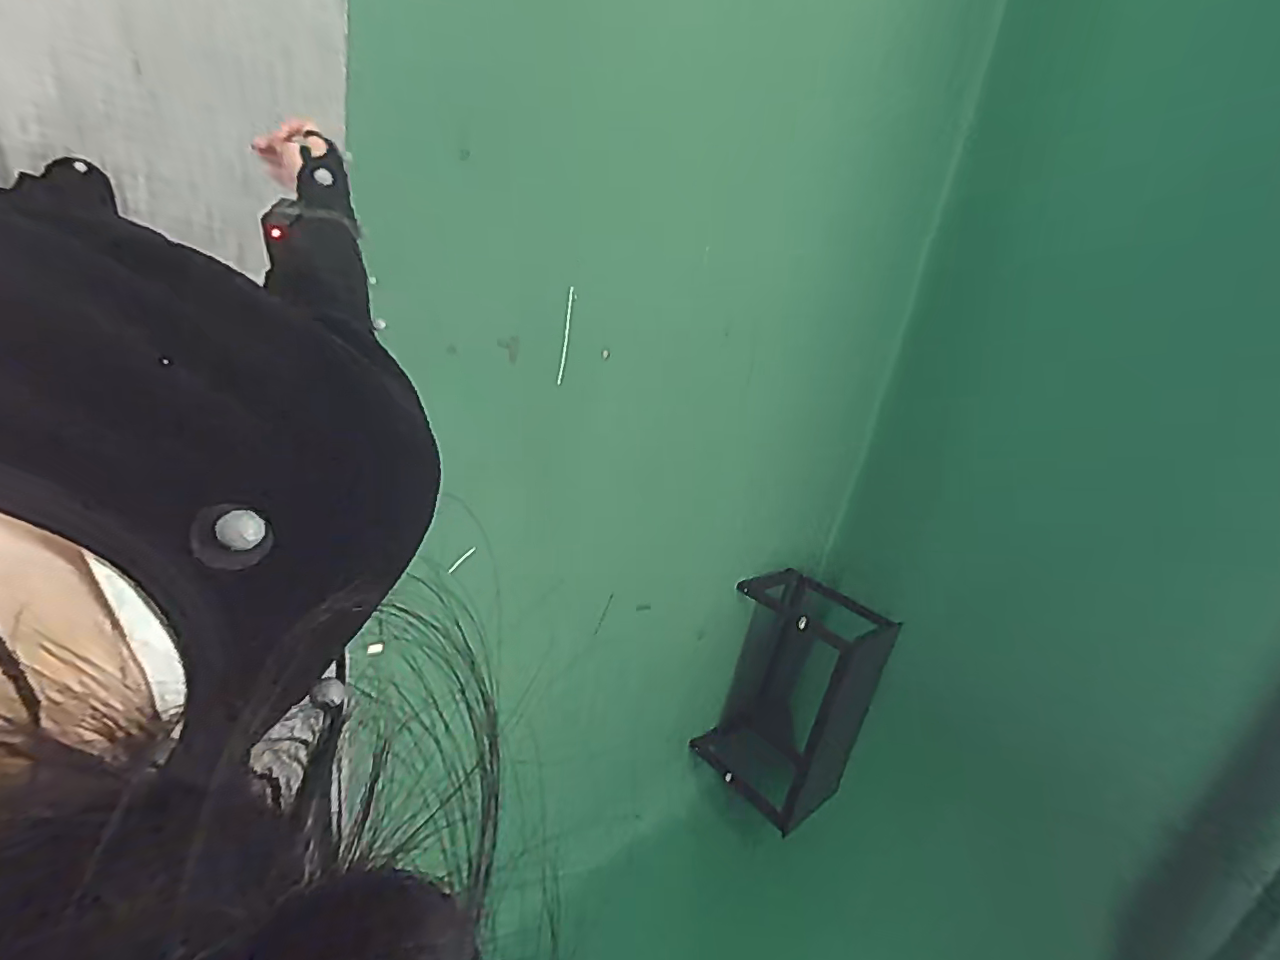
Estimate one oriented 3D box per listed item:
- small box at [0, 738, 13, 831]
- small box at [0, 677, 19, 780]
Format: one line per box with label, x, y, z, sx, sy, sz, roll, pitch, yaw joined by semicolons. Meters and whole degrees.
small box;-1.255;0.575;0.955;0.168;0.176;0.179;-9;117;-42
small box;-1.364;0.512;1.061;0.168;0.176;0.179;-9;118;-42
